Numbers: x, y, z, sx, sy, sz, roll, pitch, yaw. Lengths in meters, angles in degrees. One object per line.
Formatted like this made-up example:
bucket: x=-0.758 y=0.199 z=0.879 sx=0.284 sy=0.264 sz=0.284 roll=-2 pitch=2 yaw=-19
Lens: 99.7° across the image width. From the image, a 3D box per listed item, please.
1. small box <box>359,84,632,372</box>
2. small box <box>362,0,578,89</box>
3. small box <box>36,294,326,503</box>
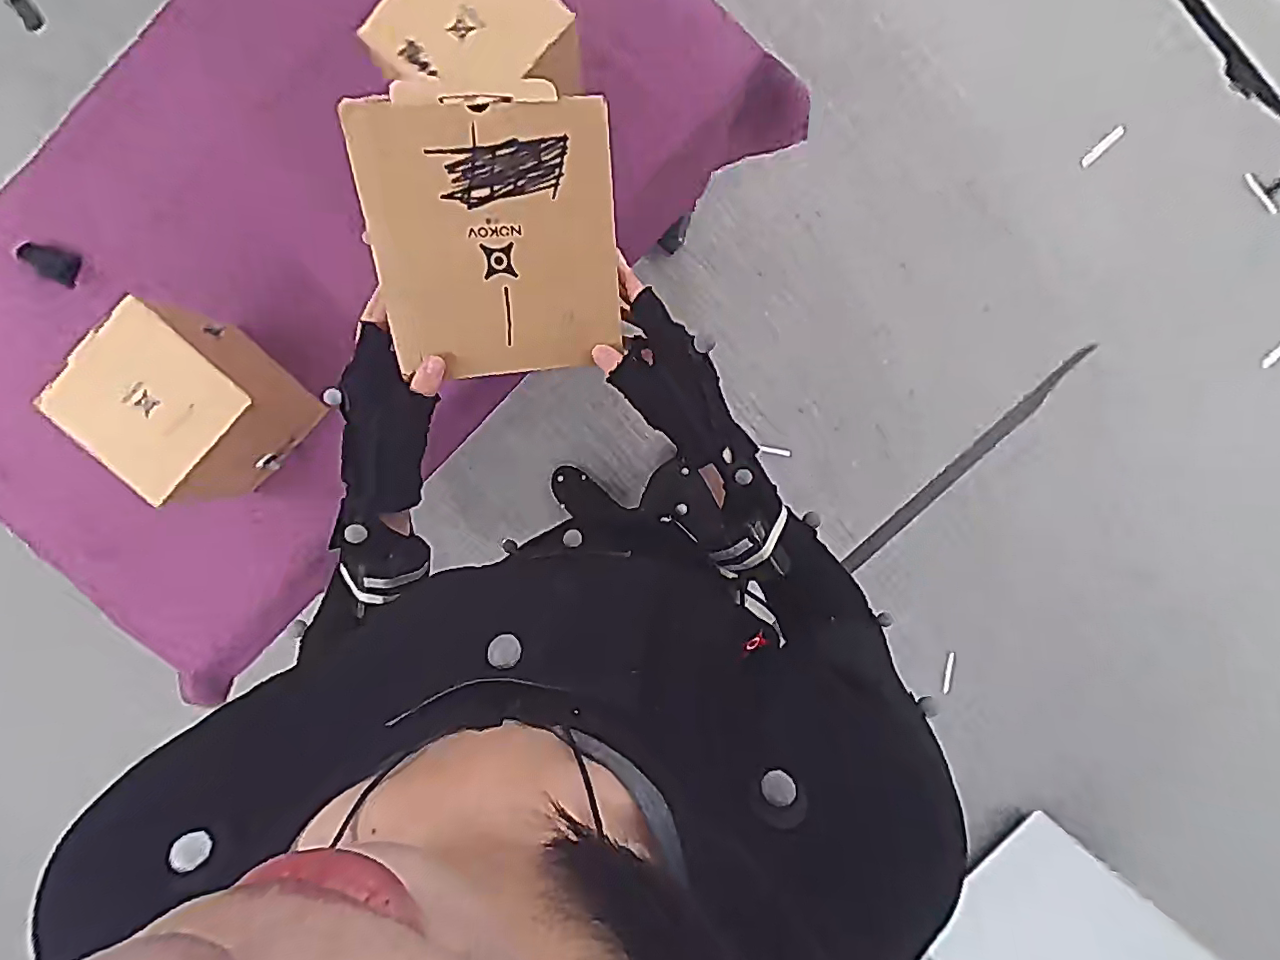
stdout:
small box: x=-0.106 y=-0.194 z=0.443 sx=0.168 sy=0.176 sz=0.179 roll=-7 pitch=112 yaw=-10
small box: x=-0.192 y=-0.501 z=0.670 sx=0.168 sy=0.176 sz=0.179 roll=41 pitch=90 yaw=-4
small box: x=-0.549 y=-0.092 z=0.675 sx=0.179 sy=0.176 sz=0.168 roll=42 pitch=92 yaw=-5
